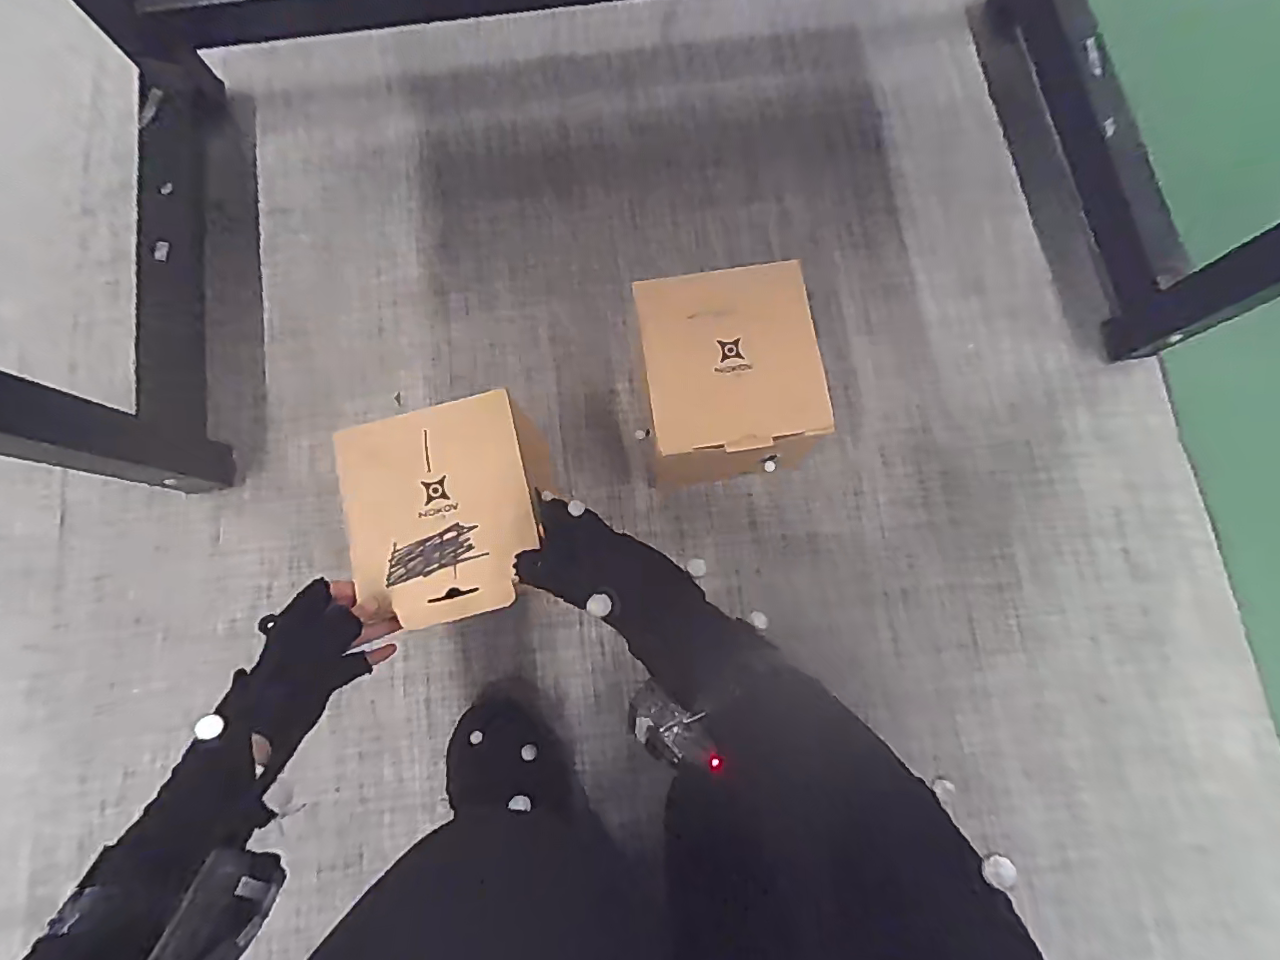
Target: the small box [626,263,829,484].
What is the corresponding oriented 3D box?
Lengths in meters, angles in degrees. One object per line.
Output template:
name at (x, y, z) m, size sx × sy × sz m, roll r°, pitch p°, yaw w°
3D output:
small box at (0.081, -0.099, 0.585) m, size 0.168 × 0.176 × 0.179 m, roll -10°, pitch 78°, yaw -2°
